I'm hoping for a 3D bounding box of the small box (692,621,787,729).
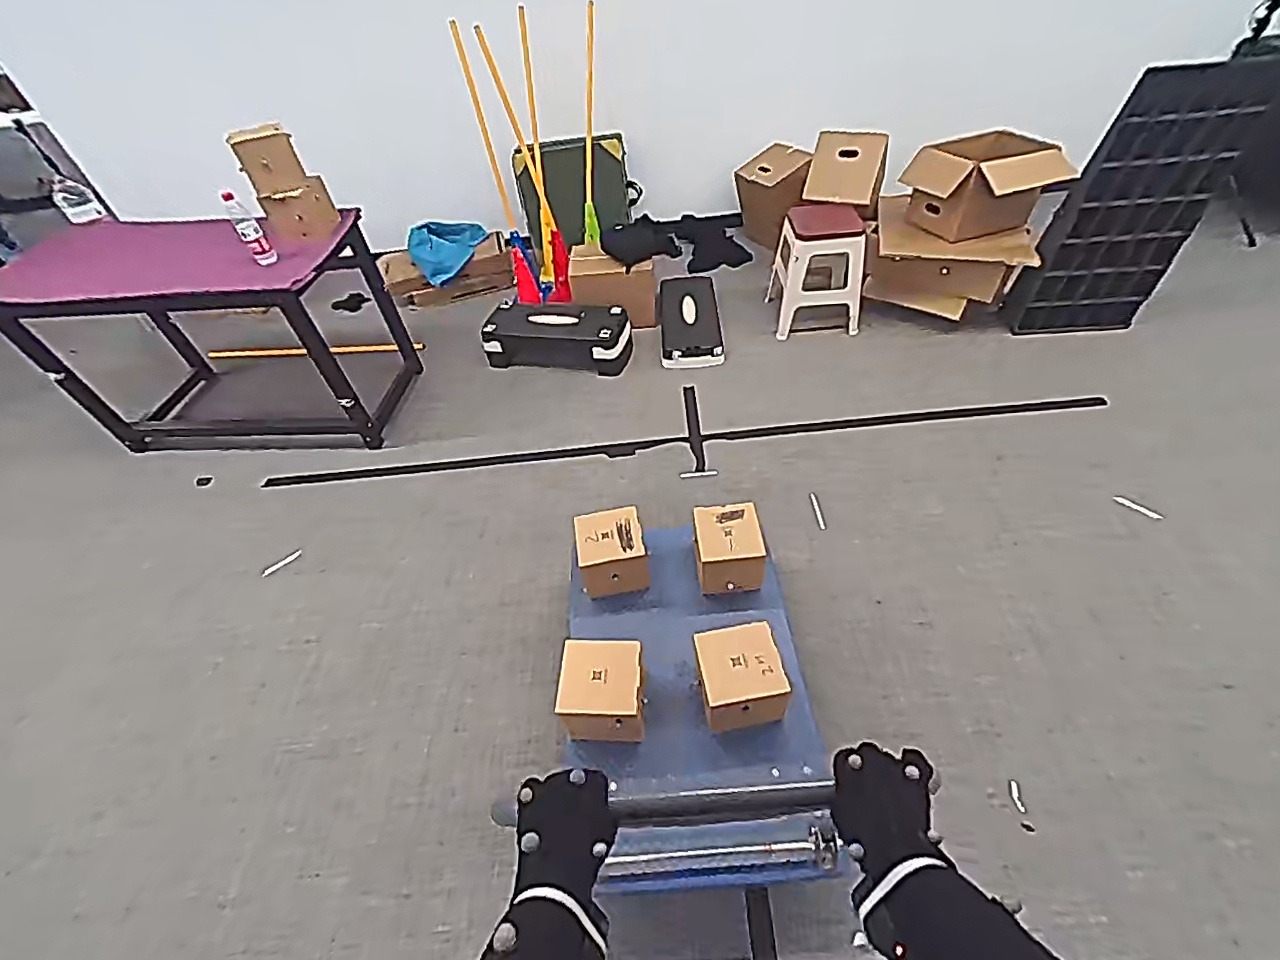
[{"bbox_3d":[0.223,0.450,1.238,0.179,0.176,0.168,-10,48,-2],"label":"small box"}]

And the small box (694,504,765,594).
[{"bbox_3d":[0.236,0.189,1.474,0.168,0.176,0.179,-6,49,2],"label":"small box"}]

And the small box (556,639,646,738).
[{"bbox_3d":[-0.083,0.482,1.246,0.179,0.176,0.168,0,47,4],"label":"small box"}]
